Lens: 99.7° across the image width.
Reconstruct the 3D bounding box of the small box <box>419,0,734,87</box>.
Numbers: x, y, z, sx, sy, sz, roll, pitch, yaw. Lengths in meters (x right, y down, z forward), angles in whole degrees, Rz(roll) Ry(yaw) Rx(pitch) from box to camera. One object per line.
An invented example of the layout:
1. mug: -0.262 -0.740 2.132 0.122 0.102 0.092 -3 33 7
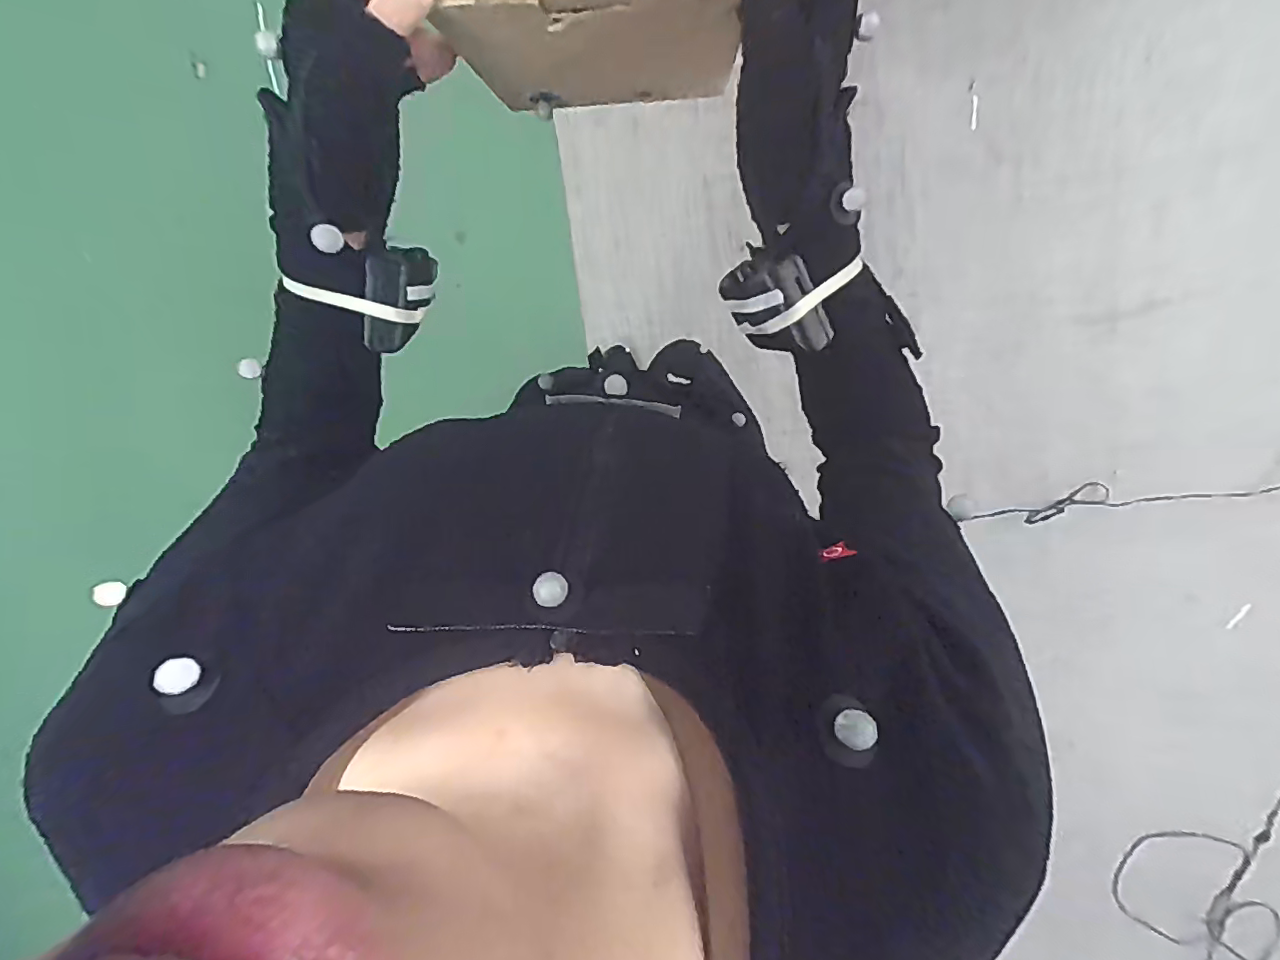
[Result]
1. small box: -0.030 -0.343 0.296 0.168 0.176 0.179 -2 108 4
